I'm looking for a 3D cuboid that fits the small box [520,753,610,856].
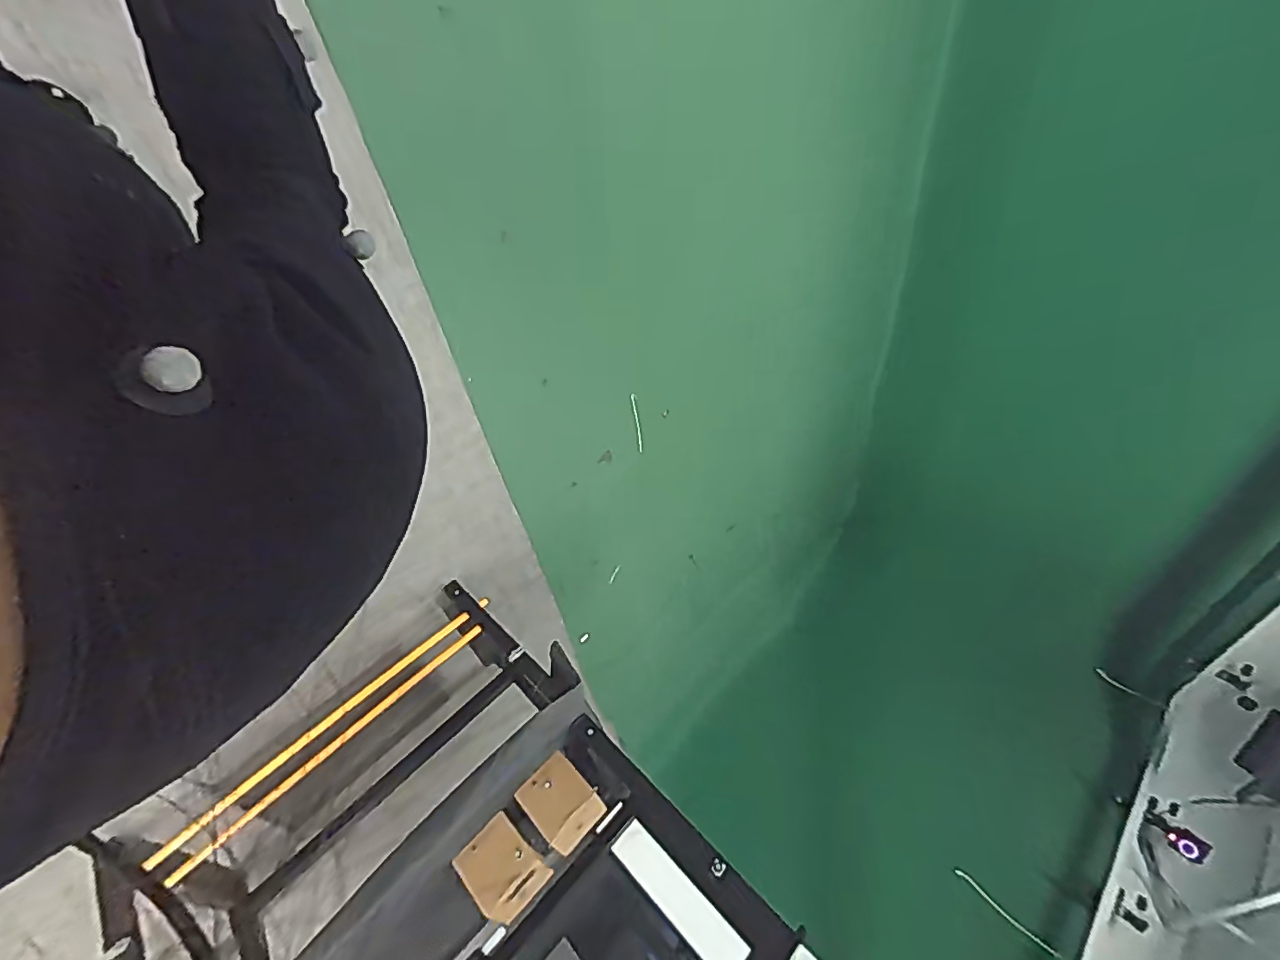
[{"bbox_3d":[-0.212,0.921,1.545,0.168,0.176,0.179,-40,140,-25],"label":"small box"}]
